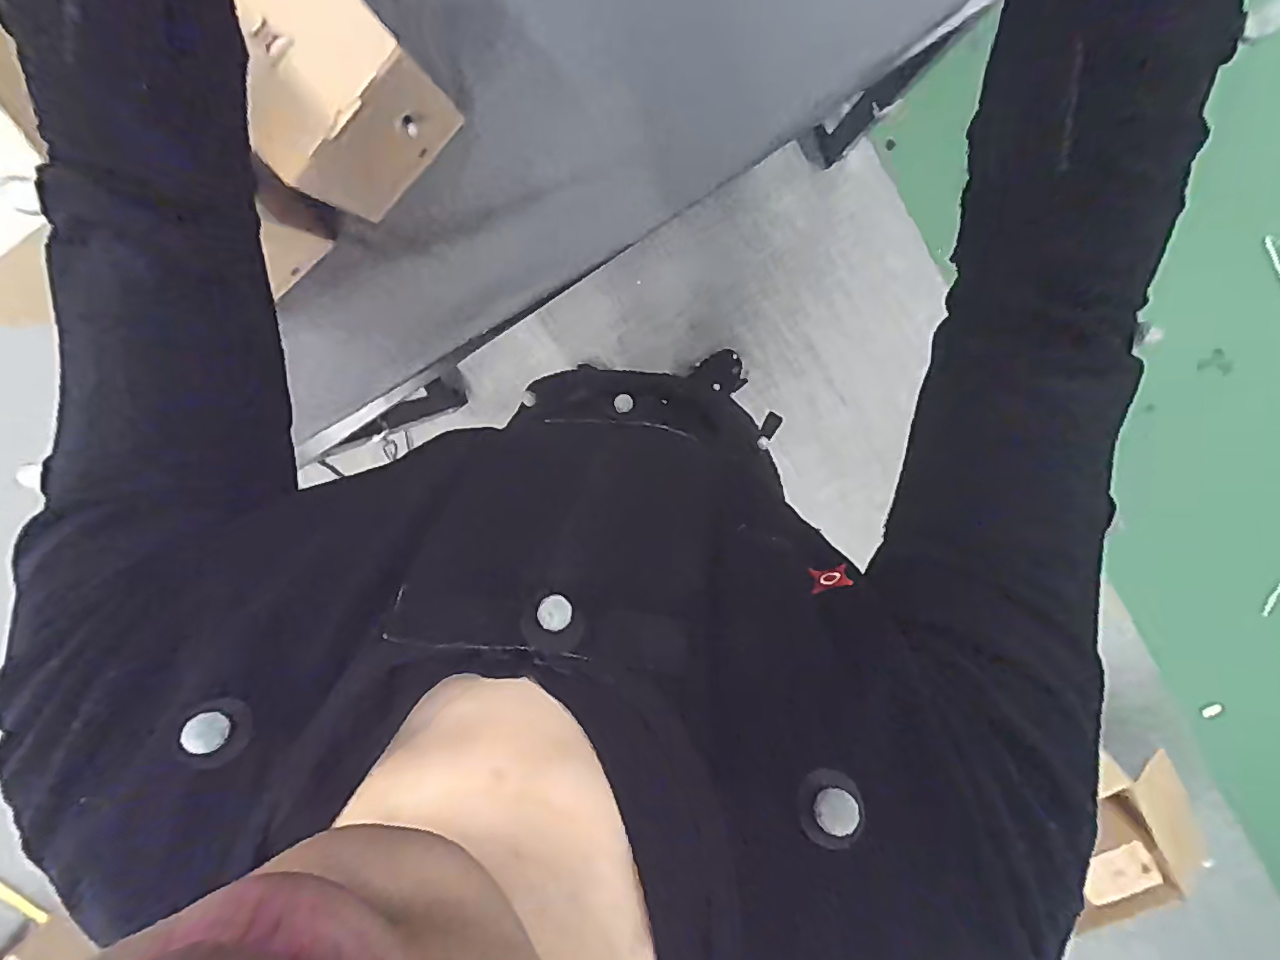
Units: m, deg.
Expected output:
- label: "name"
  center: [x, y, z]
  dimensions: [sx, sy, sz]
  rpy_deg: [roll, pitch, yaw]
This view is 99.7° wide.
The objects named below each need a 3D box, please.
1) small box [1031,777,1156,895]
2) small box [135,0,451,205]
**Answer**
- label: "small box"
  center: [1.173, 0.927, 1.418]
  dimensions: [0.179, 0.176, 0.168]
  rpy_deg: [-32, 104, 13]
- label: "small box"
  center: [-0.330, -0.414, 0.556]
  dimensions: [0.168, 0.176, 0.179]
  rpy_deg: [-42, 99, 10]
